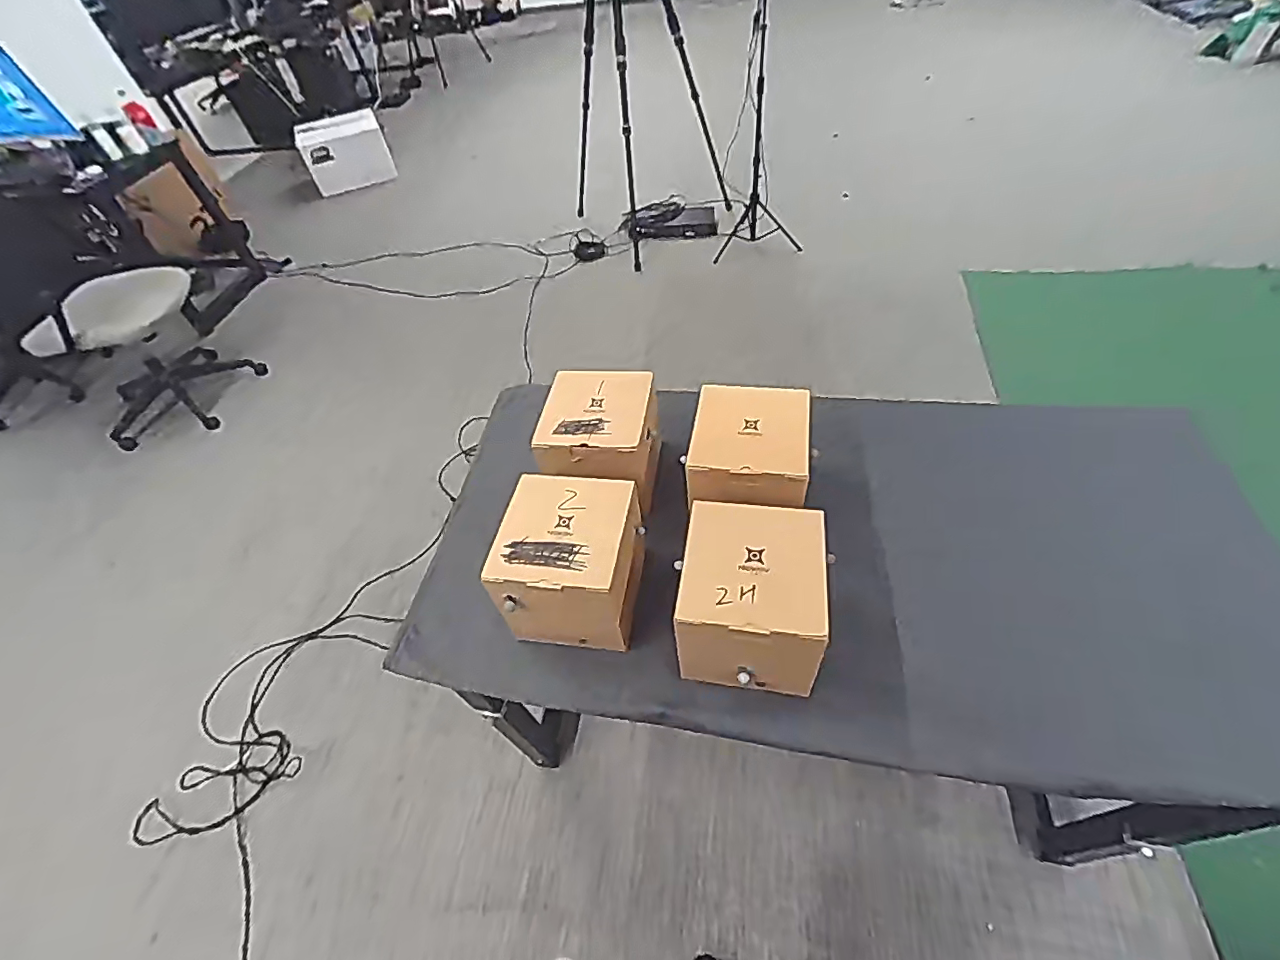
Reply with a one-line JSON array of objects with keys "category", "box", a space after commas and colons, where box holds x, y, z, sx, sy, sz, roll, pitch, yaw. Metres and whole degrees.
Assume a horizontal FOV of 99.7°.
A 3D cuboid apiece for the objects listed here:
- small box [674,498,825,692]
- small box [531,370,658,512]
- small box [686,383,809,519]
[{"category": "small box", "box": [0.140, 0.148, 0.698, 0.168, 0.176, 0.179, 4, 50, 12]}, {"category": "small box", "box": [-0.063, -0.063, 0.905, 0.168, 0.176, 0.179, 3, 51, 10]}, {"category": "small box", "box": [0.166, -0.027, 0.846, 0.168, 0.176, 0.179, 5, 52, 12]}]
